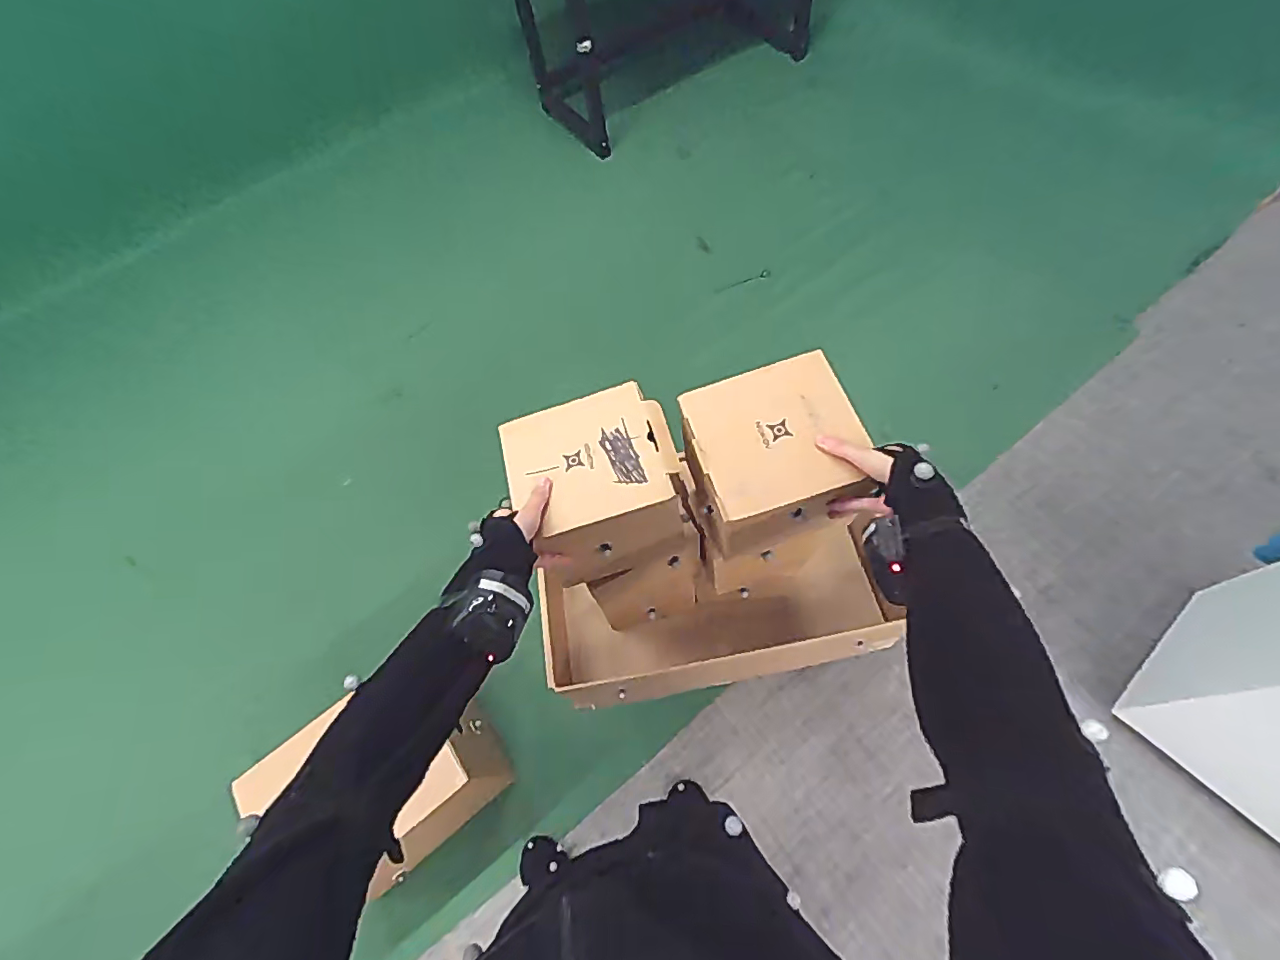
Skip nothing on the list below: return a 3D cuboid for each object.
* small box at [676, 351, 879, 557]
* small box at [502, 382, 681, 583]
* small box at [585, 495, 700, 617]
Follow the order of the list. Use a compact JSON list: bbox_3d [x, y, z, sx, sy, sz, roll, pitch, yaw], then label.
[{"bbox_3d":[0.157,-0.021,0.661,0.179,0.176,0.168,-18,64,1],"label":"small box"},{"bbox_3d":[-0.052,0.011,0.682,0.179,0.176,0.168,-18,60,1],"label":"small box"},{"bbox_3d":[-0.019,0.091,0.856,0.179,0.176,0.168,-26,61,-8],"label":"small box"}]
